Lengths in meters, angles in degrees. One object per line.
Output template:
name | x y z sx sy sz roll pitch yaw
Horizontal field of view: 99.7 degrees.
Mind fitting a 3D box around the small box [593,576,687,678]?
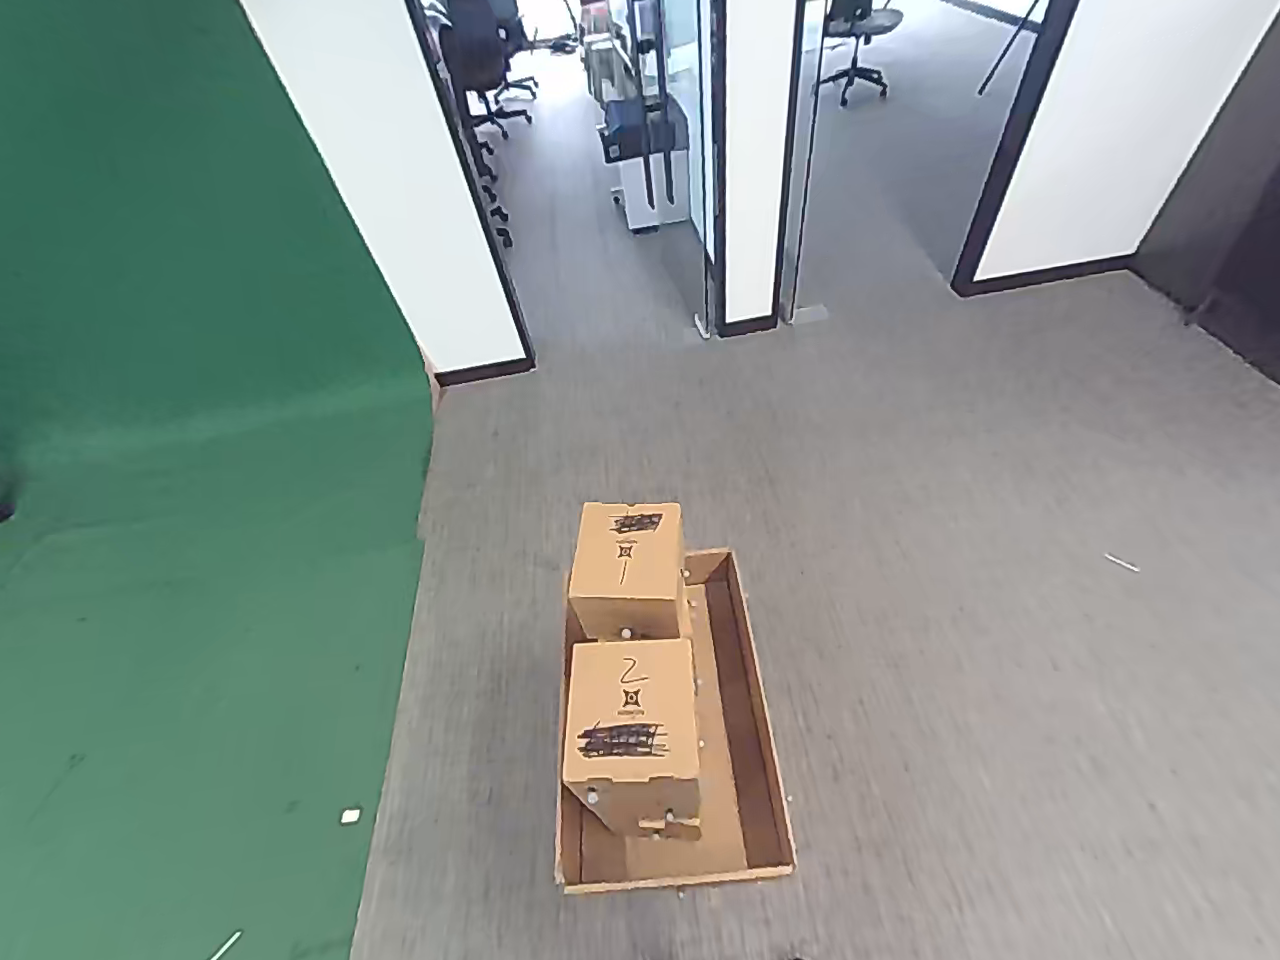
small box | -0.001 0.262 1.046 0.168 0.176 0.179 -8 52 1

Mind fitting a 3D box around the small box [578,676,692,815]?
small box | -0.001 0.442 0.891 0.168 0.176 0.179 -3 49 4

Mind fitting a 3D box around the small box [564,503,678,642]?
small box | -0.022 0.157 0.921 0.168 0.176 0.179 0 53 7
